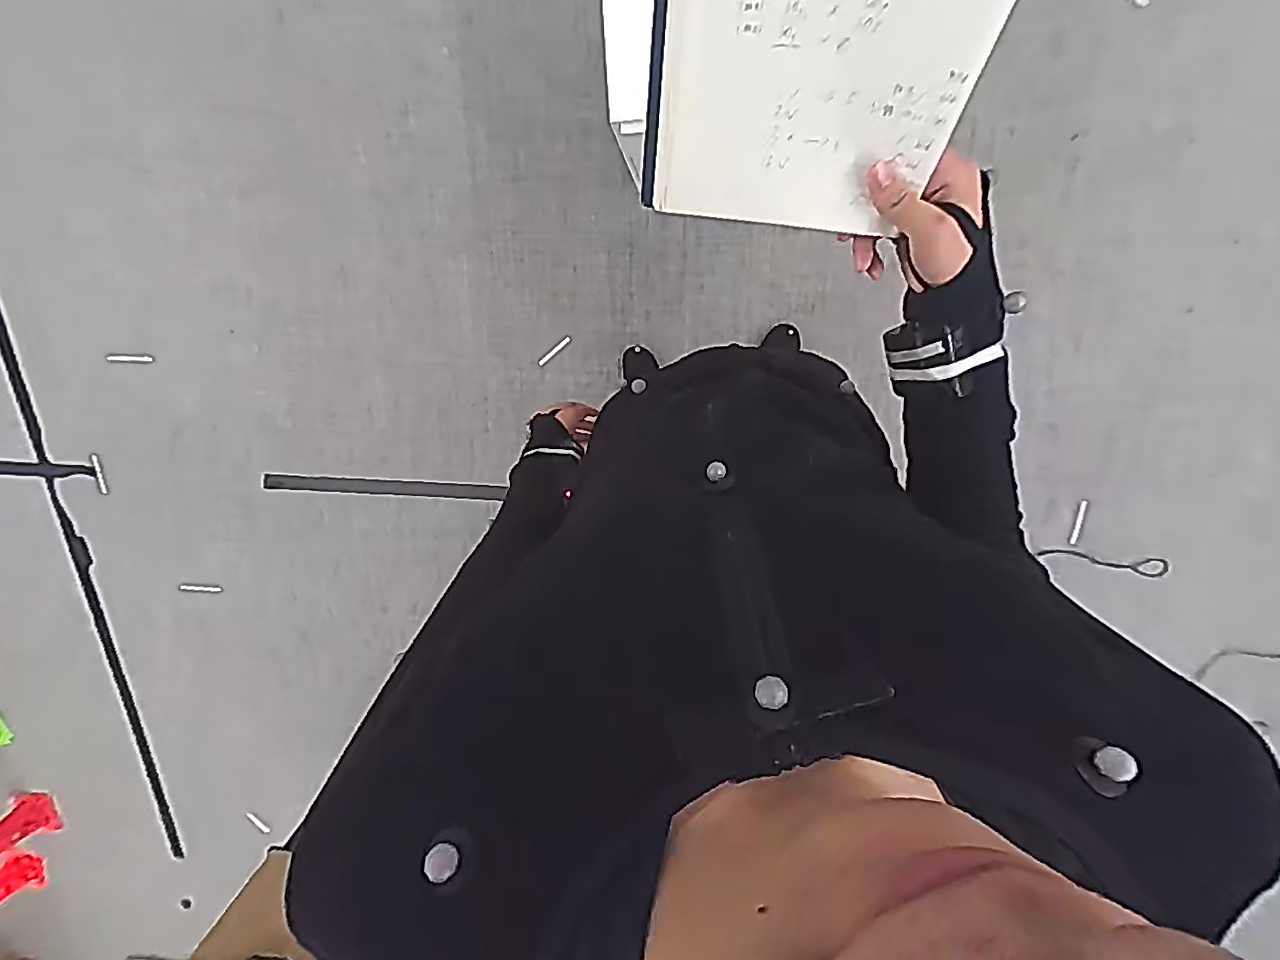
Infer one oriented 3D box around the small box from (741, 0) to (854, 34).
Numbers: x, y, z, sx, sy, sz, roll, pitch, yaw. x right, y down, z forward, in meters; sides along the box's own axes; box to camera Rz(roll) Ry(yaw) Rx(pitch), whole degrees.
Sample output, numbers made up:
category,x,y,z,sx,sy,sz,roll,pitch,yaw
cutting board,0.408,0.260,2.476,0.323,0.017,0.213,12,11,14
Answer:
category,x,y,z,sx,sy,sz,roll,pitch,yaw
small box,0.224,-0.744,0.716,0.179,0.176,0.168,-10,105,9
